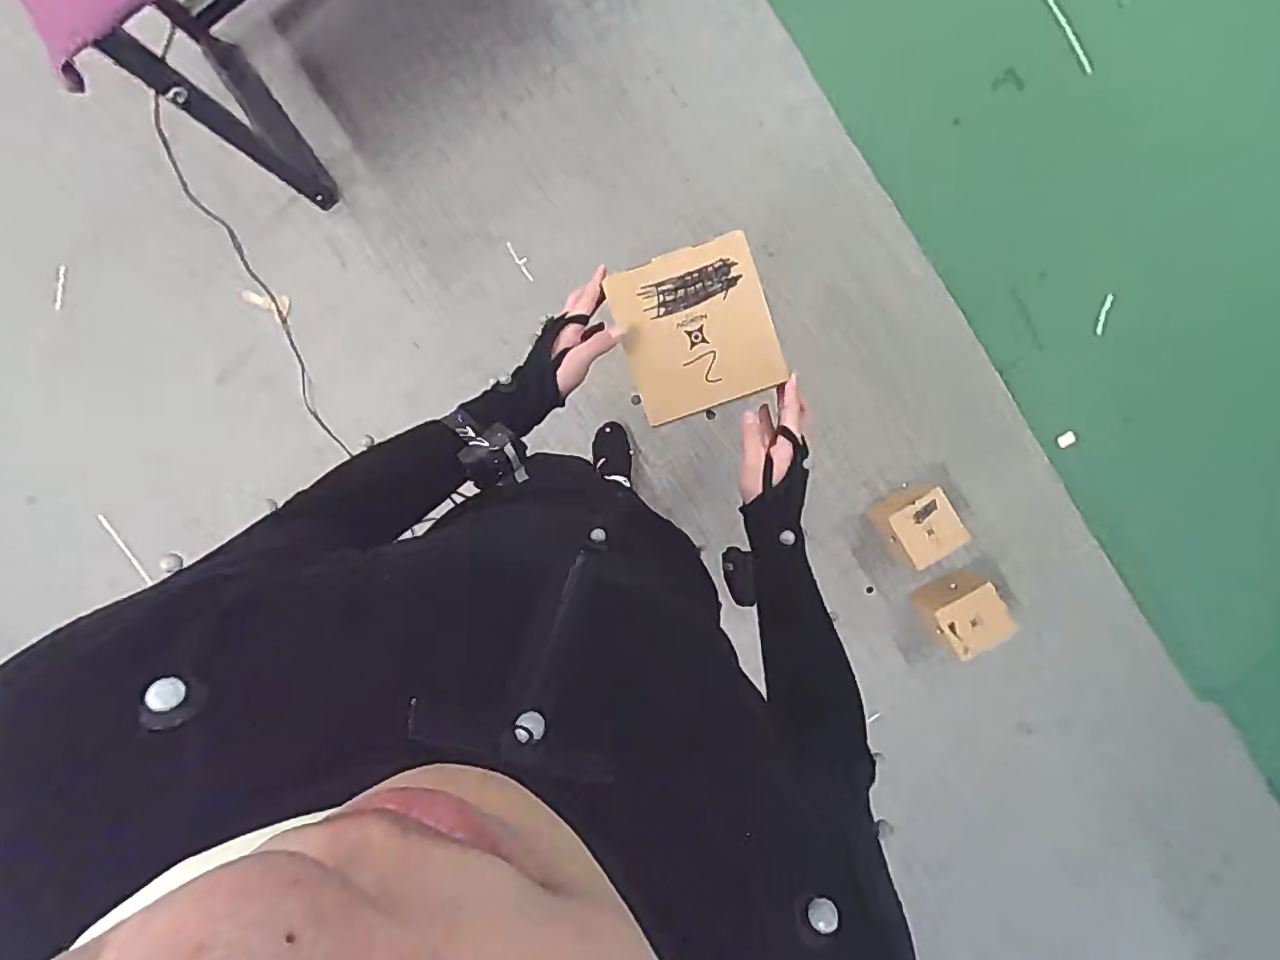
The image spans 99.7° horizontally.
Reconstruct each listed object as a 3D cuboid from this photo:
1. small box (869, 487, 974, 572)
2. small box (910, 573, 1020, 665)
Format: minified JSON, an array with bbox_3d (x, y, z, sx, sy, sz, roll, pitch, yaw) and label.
[{"bbox_3d":[0.780,0.129,1.520,0.168,0.176,0.179,-32,93,4],"label":"small box"},{"bbox_3d":[0.914,0.386,1.535,0.179,0.176,0.168,-30,93,3],"label":"small box"}]
